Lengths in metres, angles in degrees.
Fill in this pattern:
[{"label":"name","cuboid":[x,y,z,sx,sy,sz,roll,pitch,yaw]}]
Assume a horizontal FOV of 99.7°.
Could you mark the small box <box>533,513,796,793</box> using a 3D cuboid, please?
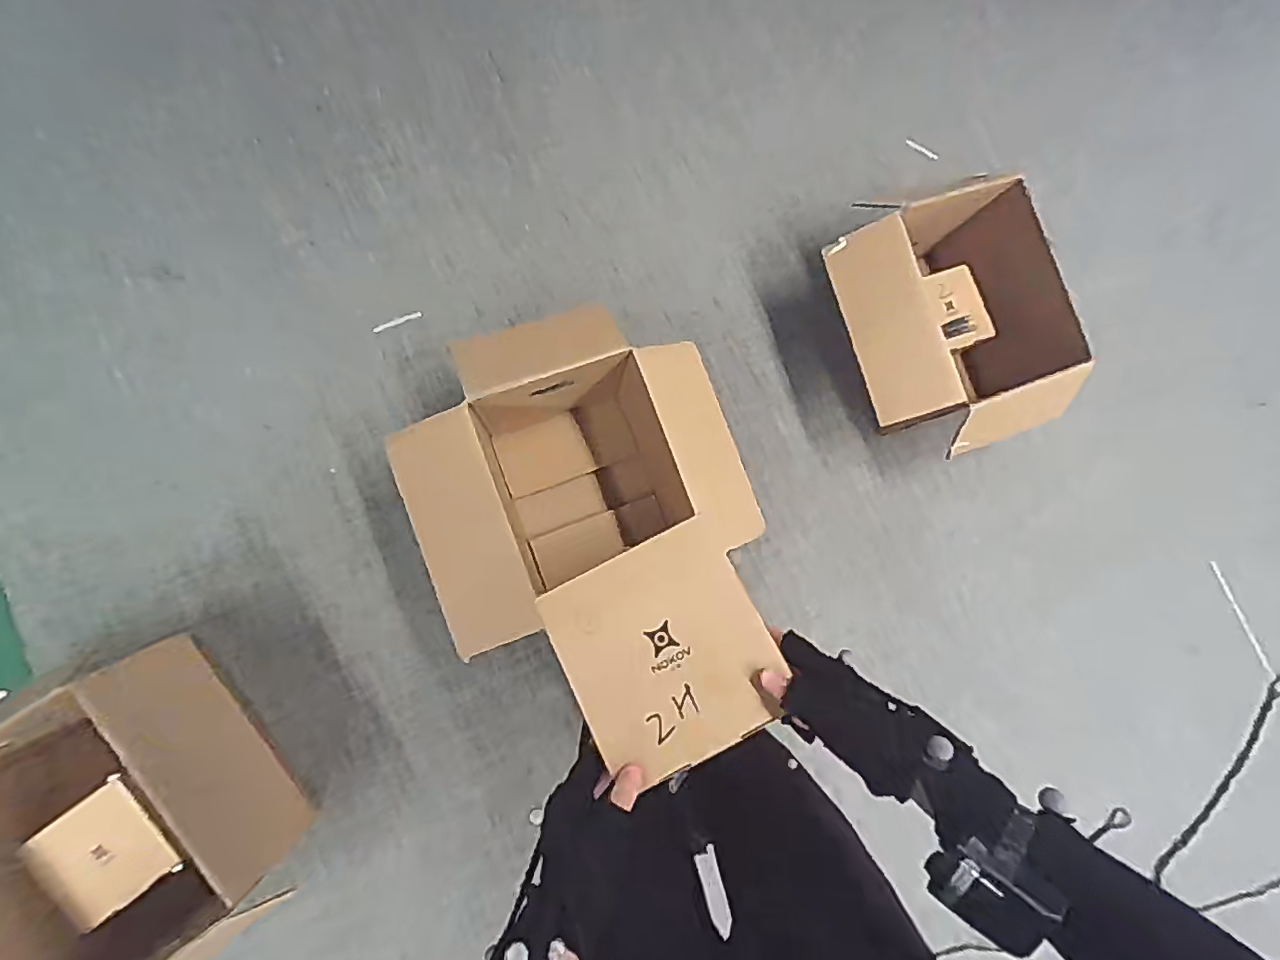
[{"label":"small box","cuboid":[0.021,0.156,0.523,0.168,0.176,0.179,-27,76,-2]}]
